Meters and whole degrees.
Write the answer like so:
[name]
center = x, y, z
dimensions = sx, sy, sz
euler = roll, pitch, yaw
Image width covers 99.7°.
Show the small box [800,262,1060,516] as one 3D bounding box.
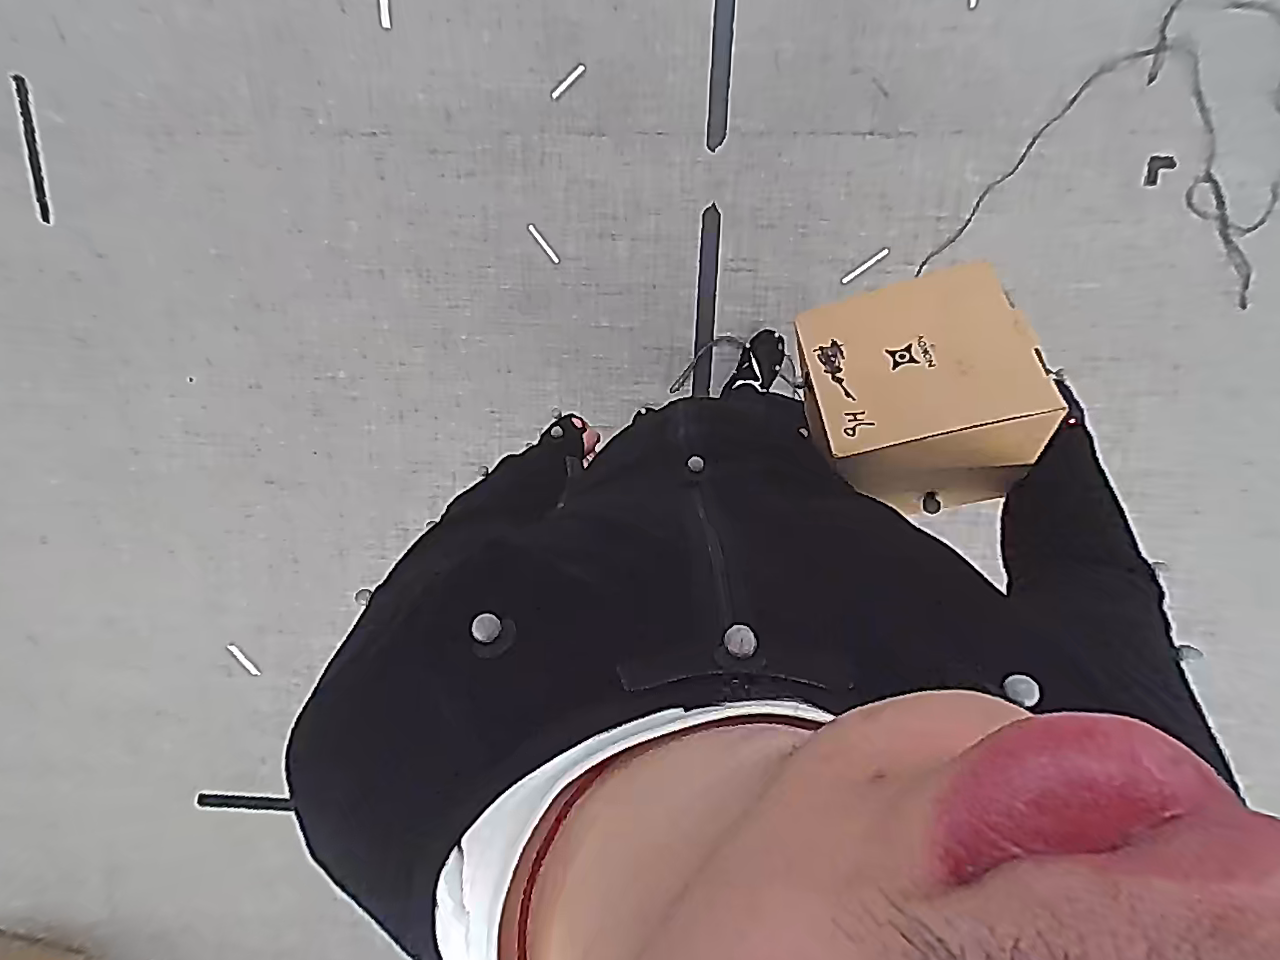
[small box]
center = 0.272, -0.079, 0.552
dimensions = 0.179, 0.176, 0.168
euler = -13, 60, 15
